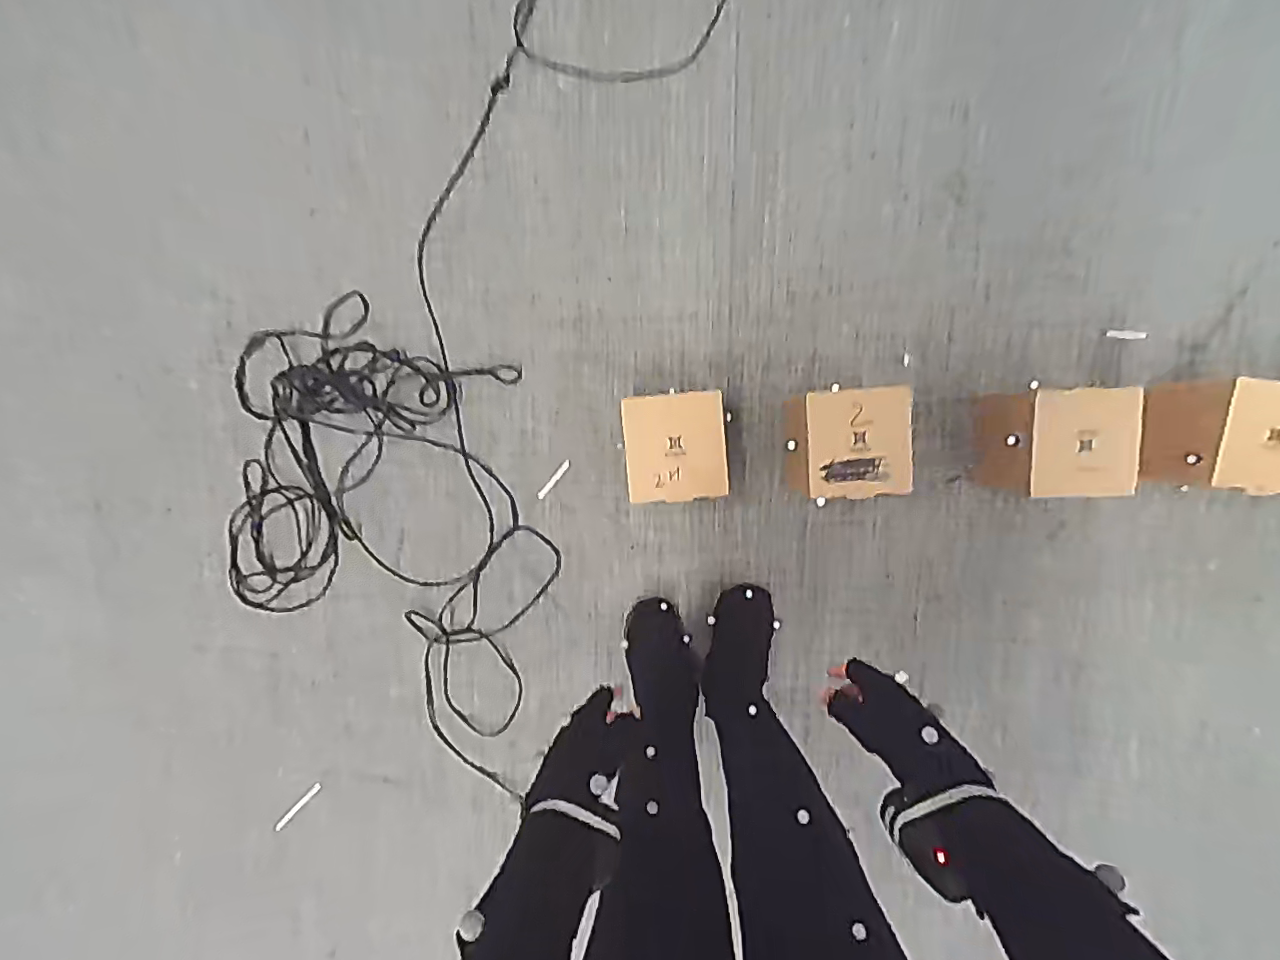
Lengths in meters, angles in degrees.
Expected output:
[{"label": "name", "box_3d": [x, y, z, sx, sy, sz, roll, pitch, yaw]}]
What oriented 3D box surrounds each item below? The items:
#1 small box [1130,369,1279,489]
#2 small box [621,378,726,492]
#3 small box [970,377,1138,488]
[{"label": "small box", "box_3d": [0.989, -0.088, 0.933, 0.168, 0.176, 0.179, 8, 98, 0]}, {"label": "small box", "box_3d": [0.057, -0.080, 0.955, 0.168, 0.176, 0.179, -4, 97, 3]}, {"label": "small box", "box_3d": [0.704, -0.084, 0.939, 0.168, 0.176, 0.179, -1, 99, 3]}]
